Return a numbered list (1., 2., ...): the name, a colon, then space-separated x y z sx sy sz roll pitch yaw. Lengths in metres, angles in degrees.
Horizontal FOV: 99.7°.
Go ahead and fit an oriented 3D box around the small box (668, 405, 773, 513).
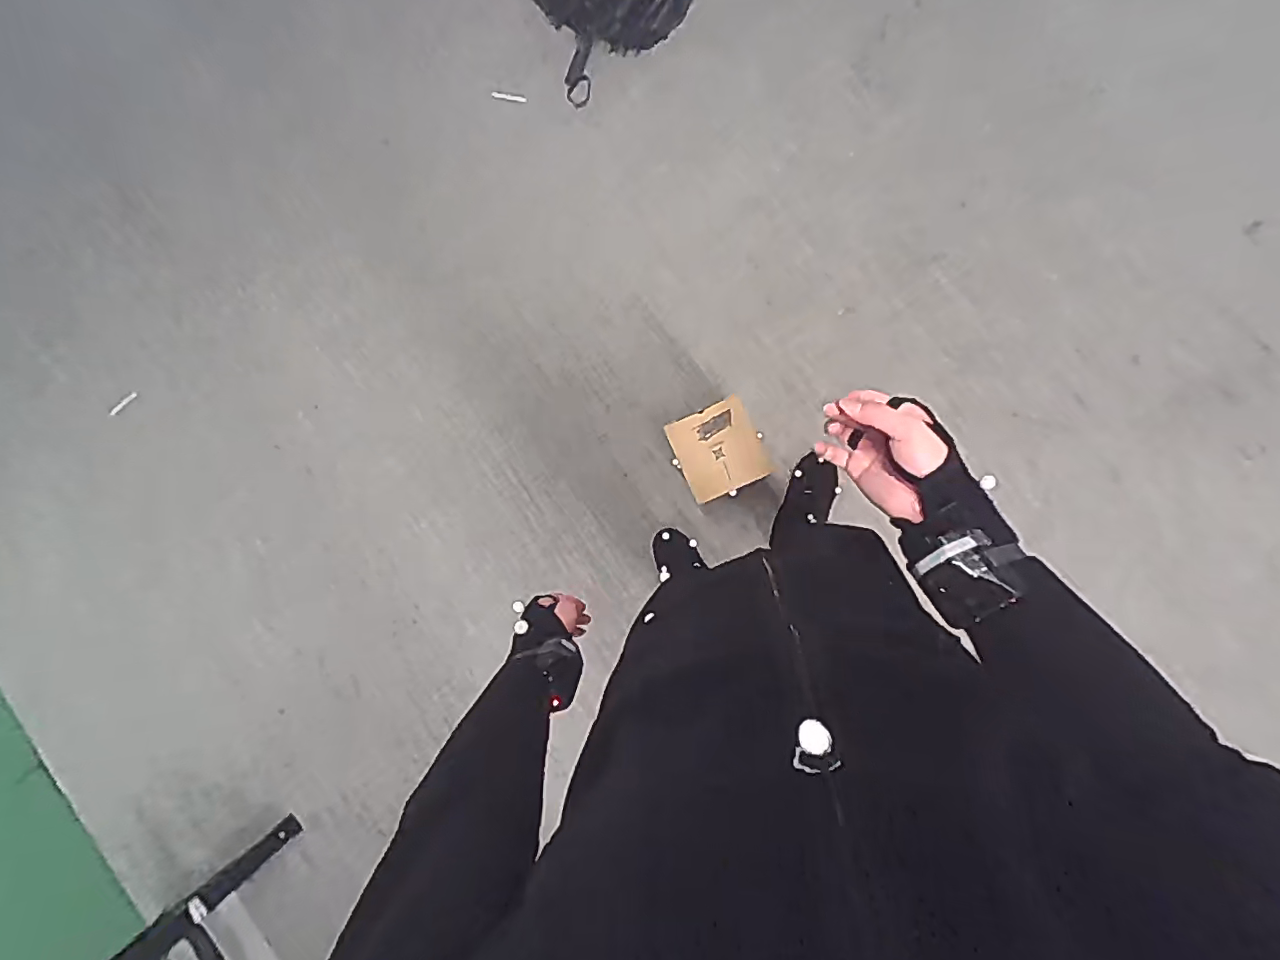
1. small box: 0.168 -0.043 1.164 0.168 0.176 0.179 -23 89 7
